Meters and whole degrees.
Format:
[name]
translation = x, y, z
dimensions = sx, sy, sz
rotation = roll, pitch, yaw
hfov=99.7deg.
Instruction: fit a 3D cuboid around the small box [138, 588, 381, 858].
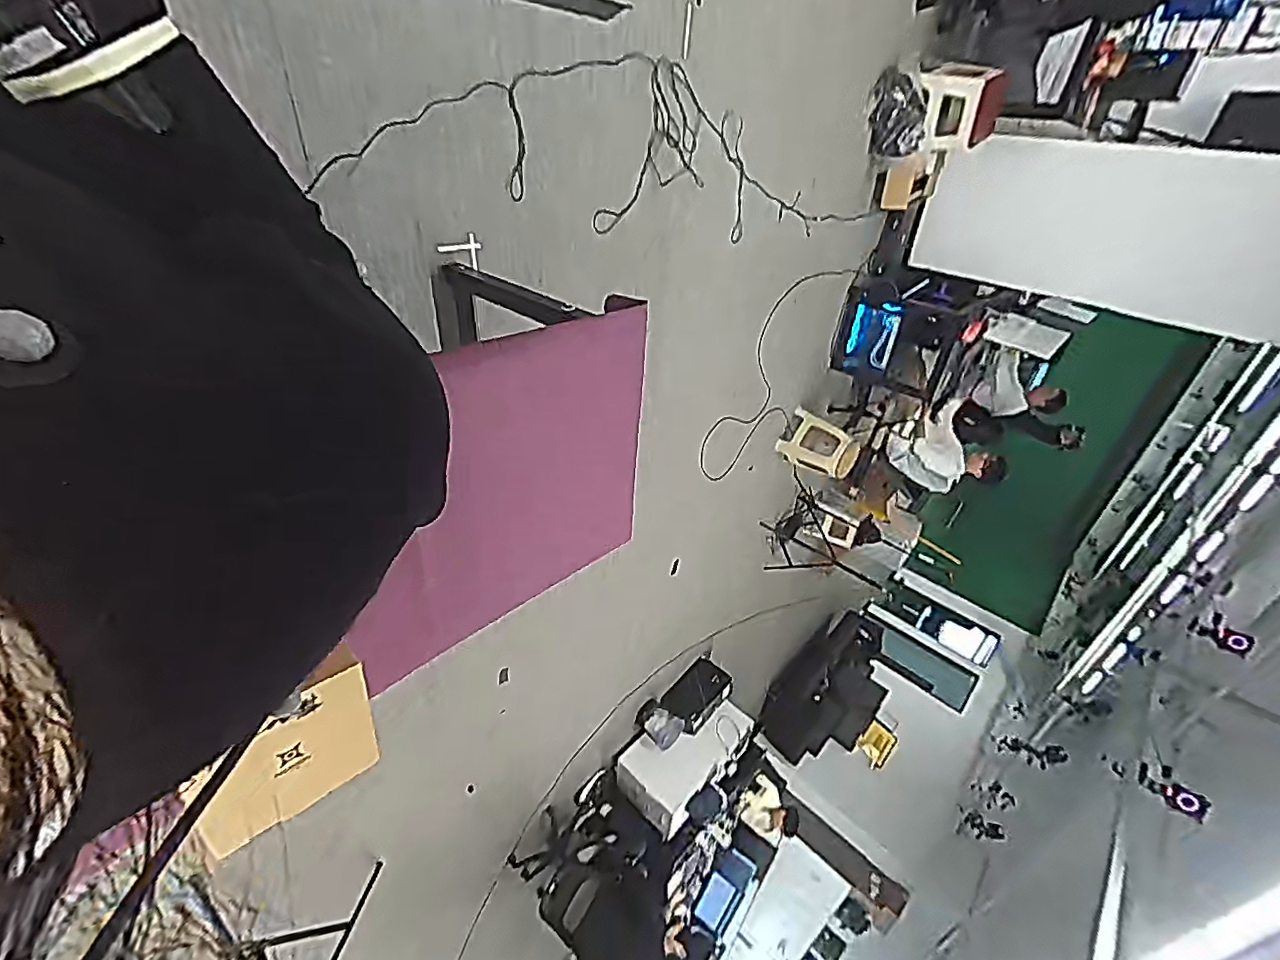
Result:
[small box]
translation = -0.415, 0.256, 0.604
dimensions = 0.168, 0.176, 0.179
rotation = -24, 133, -43
